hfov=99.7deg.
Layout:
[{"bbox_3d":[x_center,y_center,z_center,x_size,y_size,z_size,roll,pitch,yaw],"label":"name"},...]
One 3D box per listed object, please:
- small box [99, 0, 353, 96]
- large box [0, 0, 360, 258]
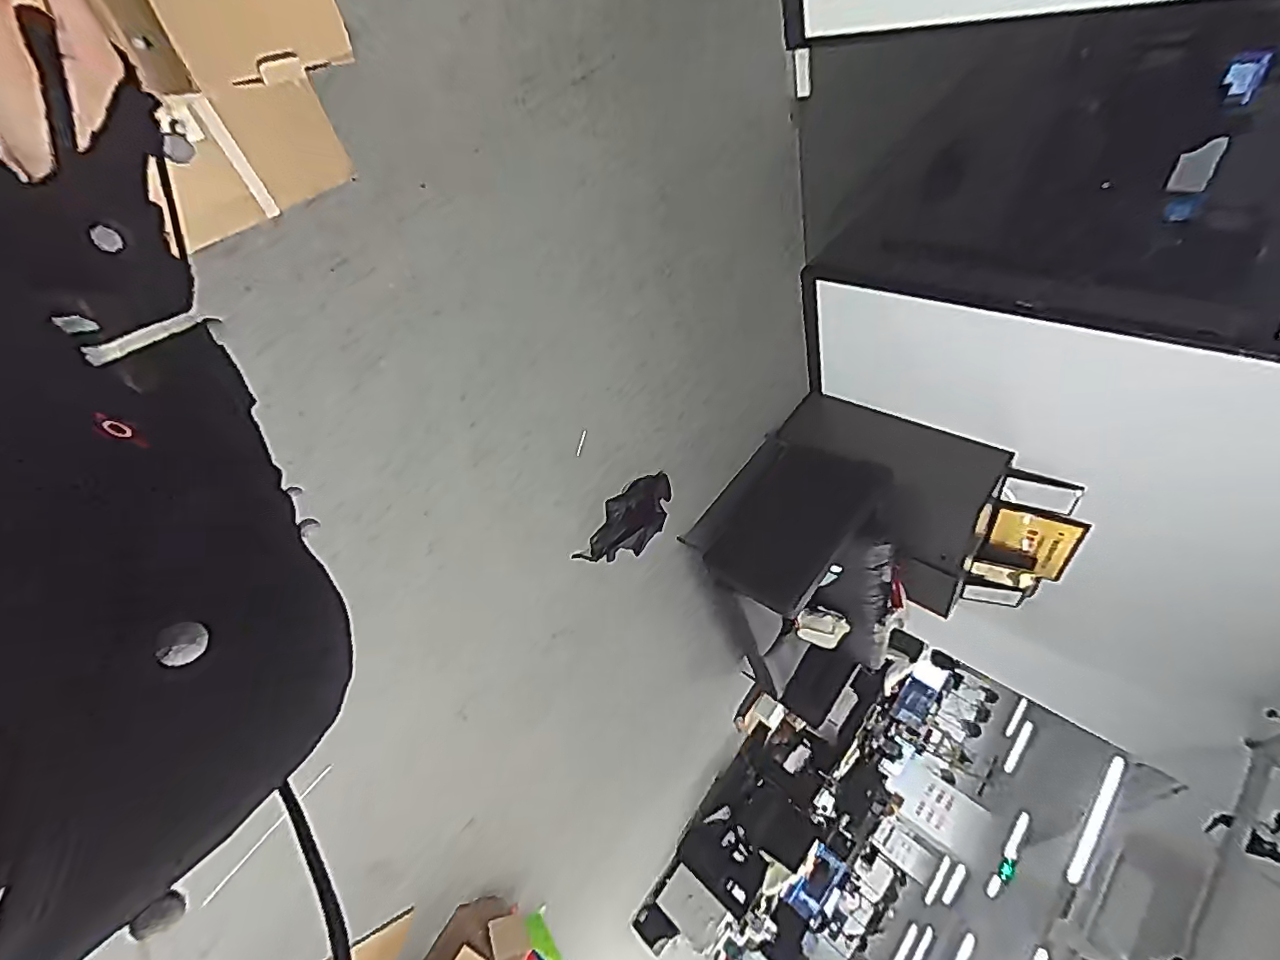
[{"bbox_3d":[-0.434,-0.503,0.538,0.168,0.176,0.179,-41,139,-28],"label":"small box"},{"bbox_3d":[-0.726,-0.612,0.806,0.320,0.320,0.408,-43,141,-23],"label":"large box"}]
